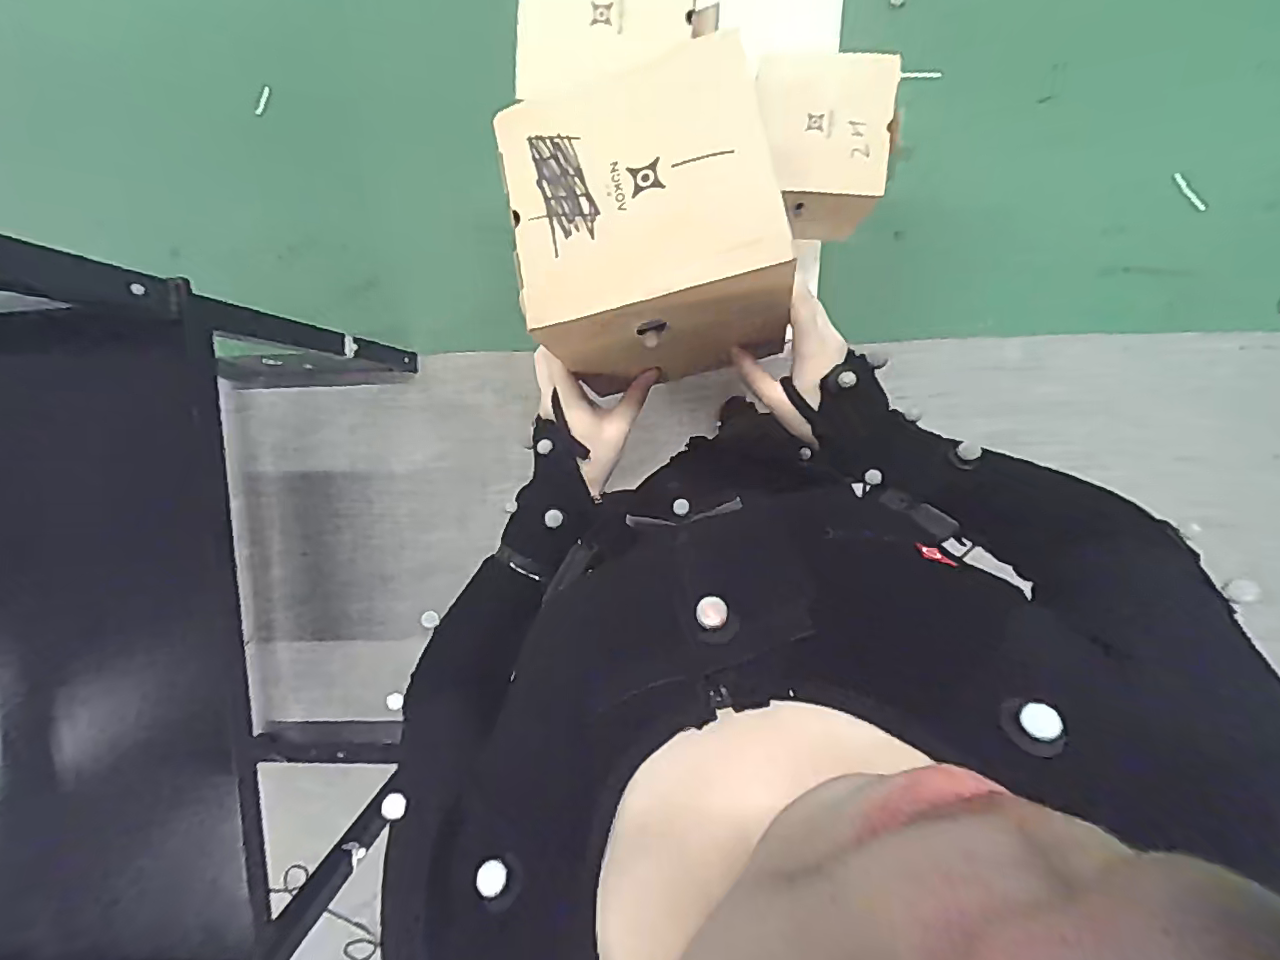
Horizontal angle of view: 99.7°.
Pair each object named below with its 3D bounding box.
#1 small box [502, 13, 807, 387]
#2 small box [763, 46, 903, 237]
[{"bbox_3d":[0.019,-0.184,0.415,0.179,0.176,0.168,-12,82,11],"label":"small box"},{"bbox_3d":[0.227,-0.447,0.738,0.179,0.176,0.168,6,97,4],"label":"small box"}]
